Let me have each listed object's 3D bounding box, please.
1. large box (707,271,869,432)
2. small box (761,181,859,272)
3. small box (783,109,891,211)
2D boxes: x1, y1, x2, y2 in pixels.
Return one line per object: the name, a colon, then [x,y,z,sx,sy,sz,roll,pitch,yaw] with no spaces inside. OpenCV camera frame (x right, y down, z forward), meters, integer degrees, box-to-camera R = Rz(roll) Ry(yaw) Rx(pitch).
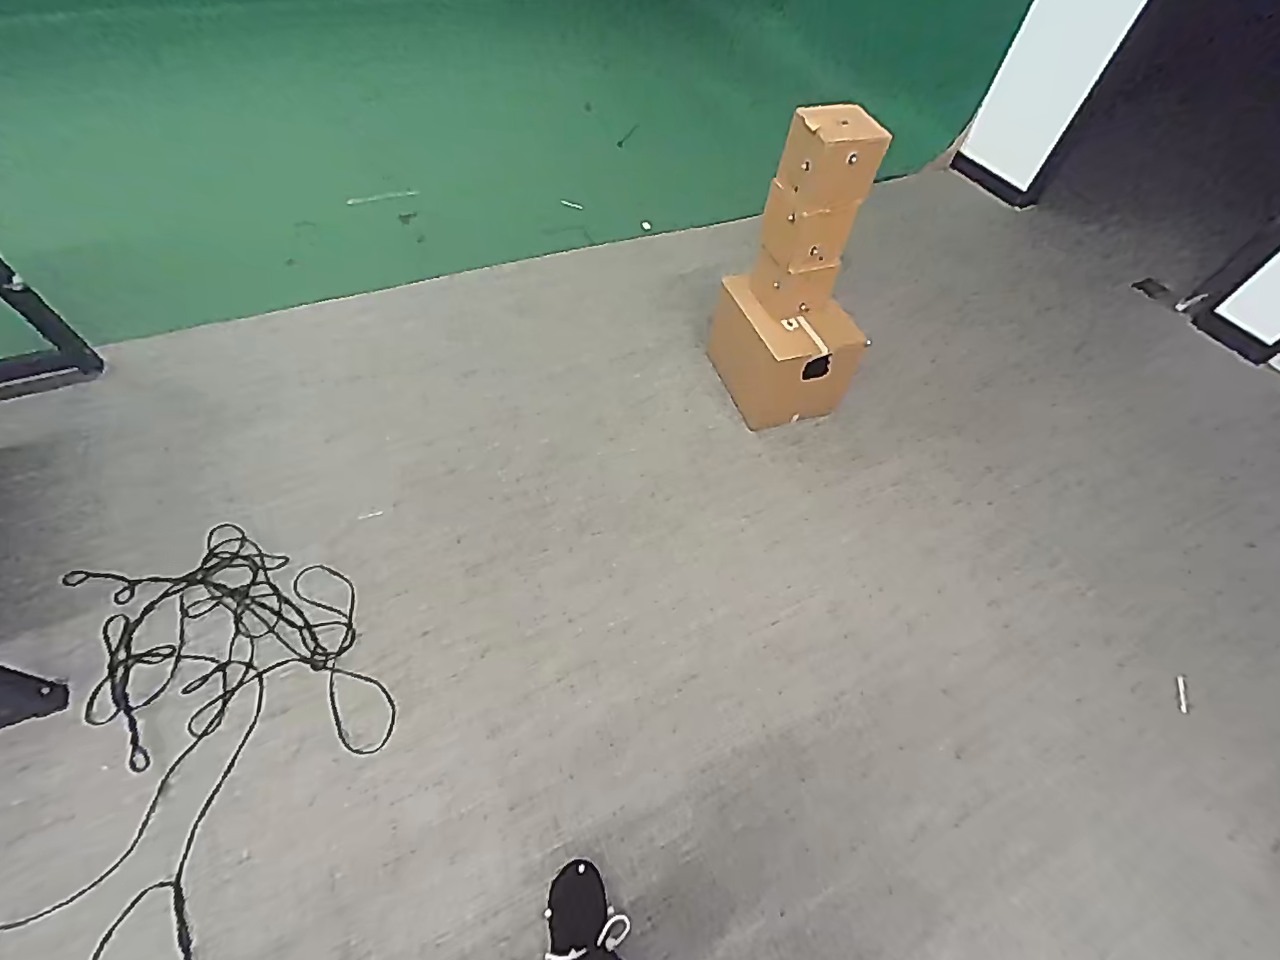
large box: [0.460,-0.428,1.787,0.320,0.320,0.408,-15,59,-13]
small box: [0.453,-0.697,1.477,0.168,0.176,0.179,-16,59,-15]
small box: [0.475,-0.792,1.346,0.179,0.176,0.168,-13,59,-15]
